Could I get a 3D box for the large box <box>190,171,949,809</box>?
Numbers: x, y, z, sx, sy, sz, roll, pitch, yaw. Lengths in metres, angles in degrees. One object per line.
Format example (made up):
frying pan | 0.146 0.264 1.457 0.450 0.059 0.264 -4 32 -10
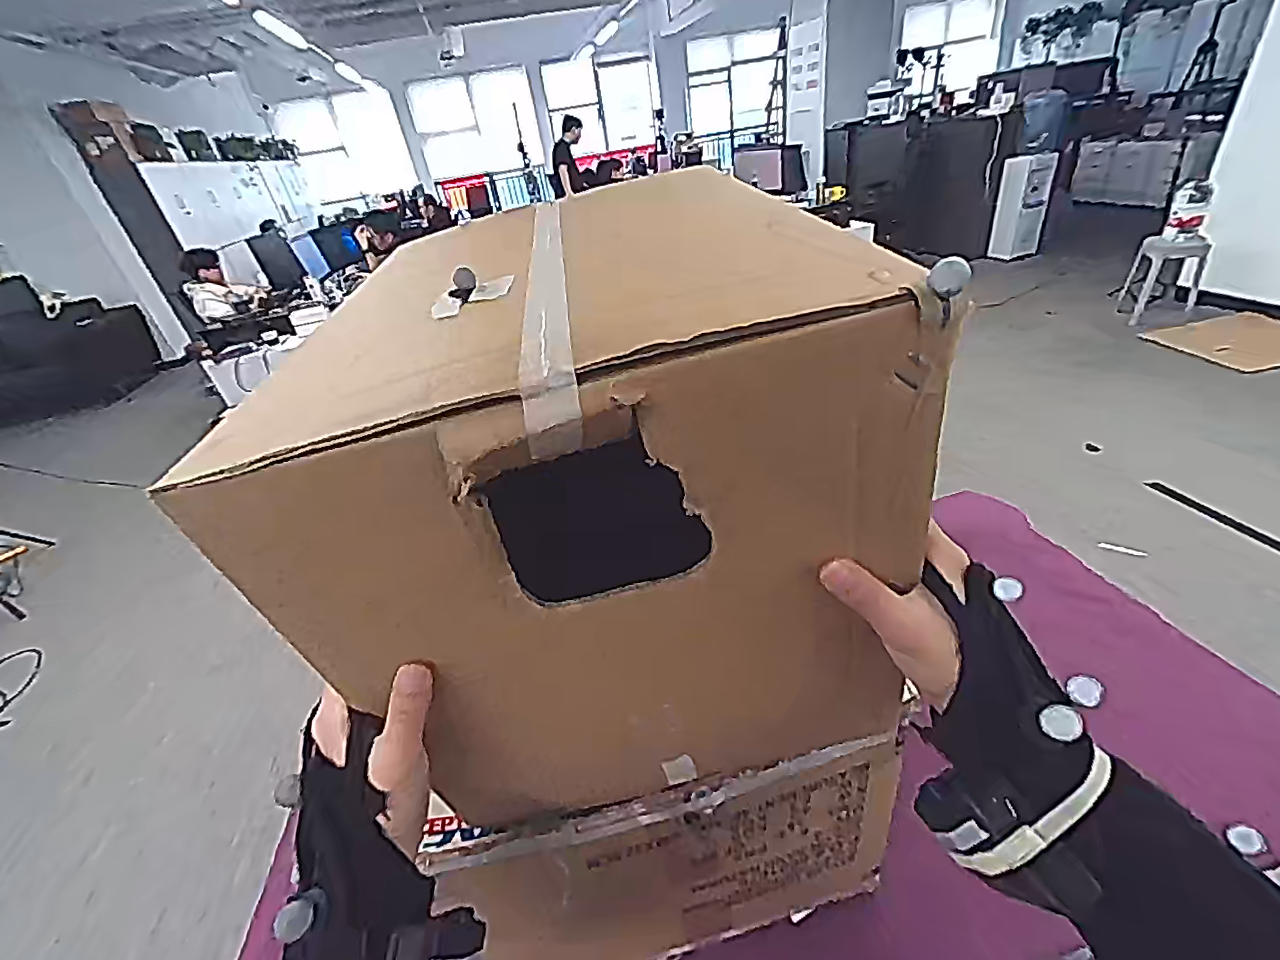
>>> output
large box | -0.028 -0.029 0.452 0.320 0.320 0.408 -15 37 1
